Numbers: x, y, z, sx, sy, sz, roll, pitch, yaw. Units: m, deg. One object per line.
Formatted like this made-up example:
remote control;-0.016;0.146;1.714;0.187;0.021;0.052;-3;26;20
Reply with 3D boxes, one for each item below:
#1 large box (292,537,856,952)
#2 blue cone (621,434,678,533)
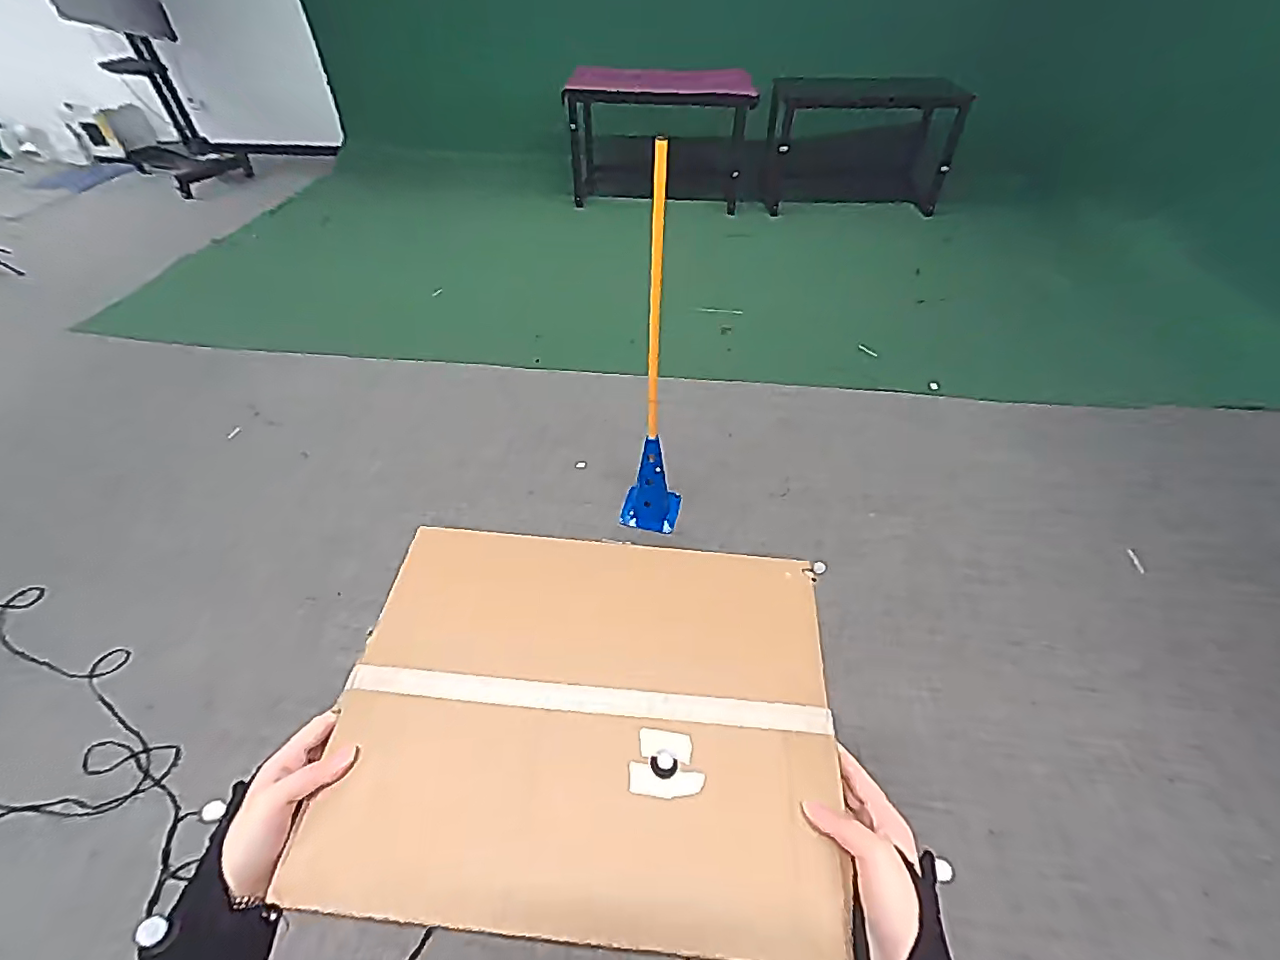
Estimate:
large box;-0.045;0.286;0.582;0.408;0.320;0.320;5;51;1
blue cone;0.037;-0.002;1.886;0.193;0.380;0.192;11;46;11
